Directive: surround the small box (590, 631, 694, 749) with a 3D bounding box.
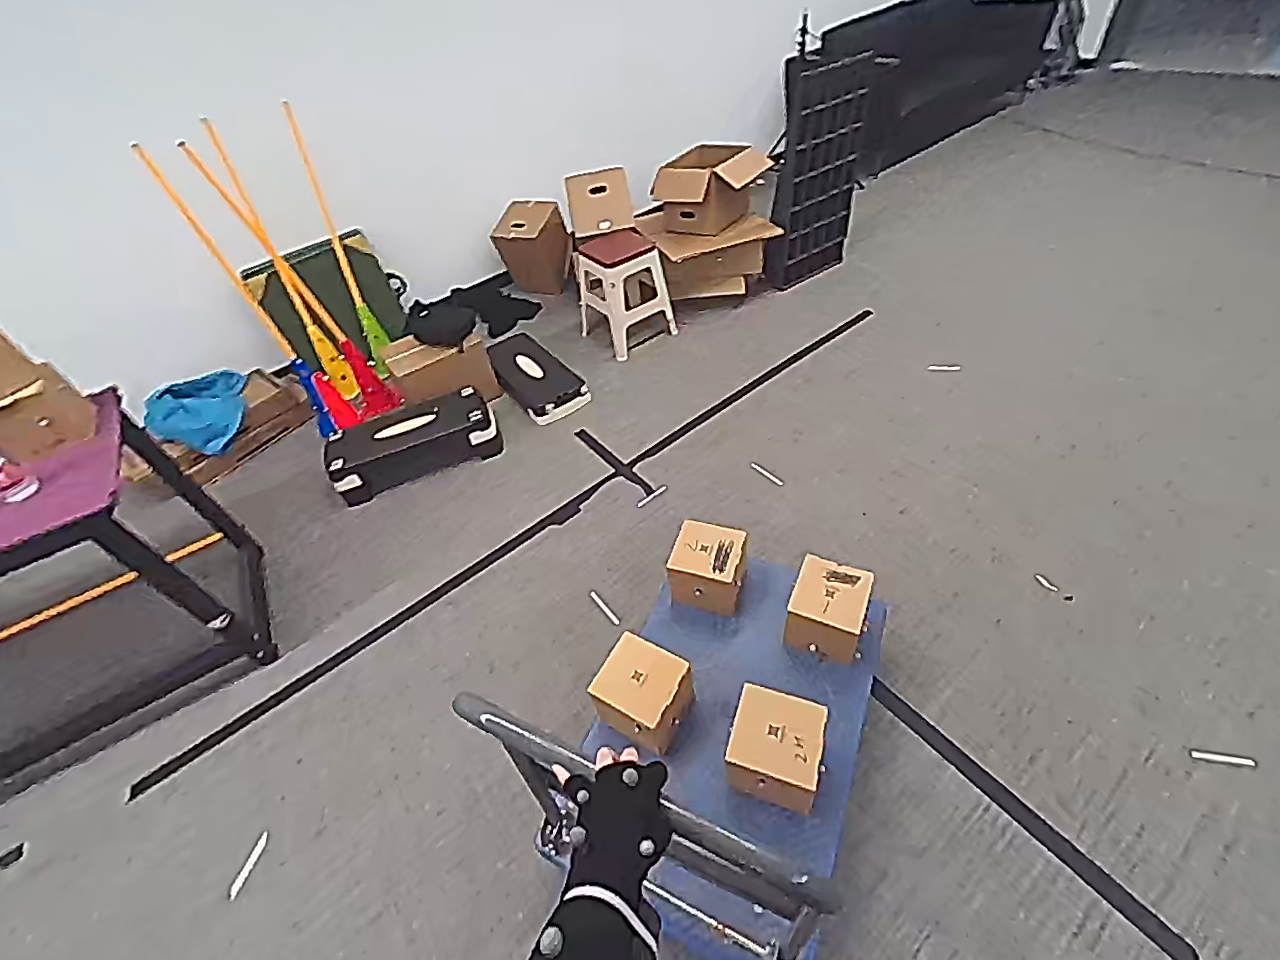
[{"bbox_3d":[0.013,0.489,1.250,0.179,0.176,0.168,19,52,25],"label":"small box"}]

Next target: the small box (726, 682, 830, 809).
[{"bbox_3d":[0.287,0.557,1.131,0.179,0.176,0.168,11,49,20],"label":"small box"}]

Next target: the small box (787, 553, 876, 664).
[{"bbox_3d":[0.466,0.317,1.333,0.168,0.176,0.179,16,52,24],"label":"small box"}]
